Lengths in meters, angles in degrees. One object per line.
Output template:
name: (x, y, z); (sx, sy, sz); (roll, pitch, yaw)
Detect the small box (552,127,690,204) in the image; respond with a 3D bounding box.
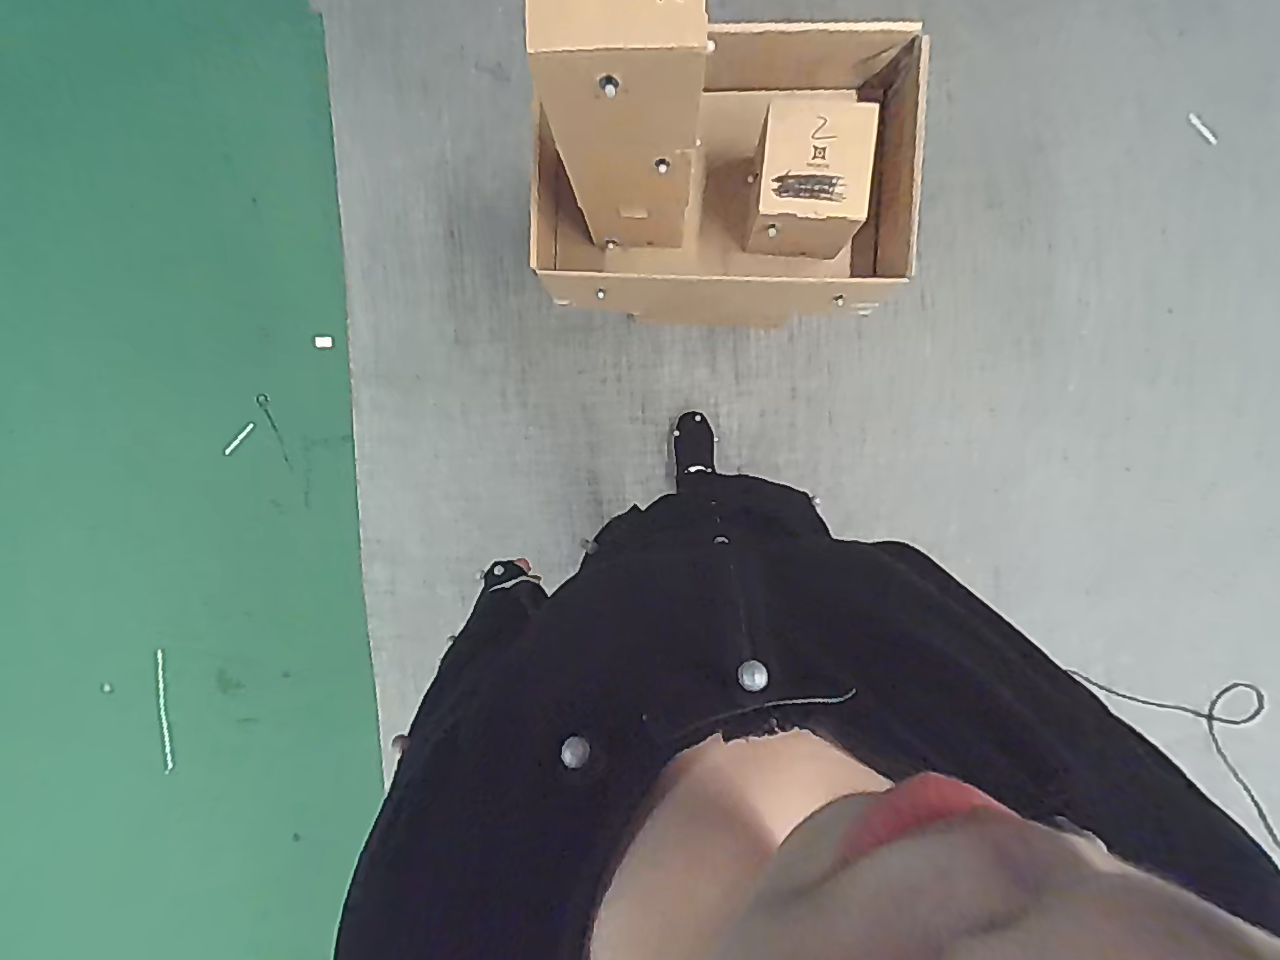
small box: (-0.019, -0.504, 0.752); (0.179, 0.176, 0.168); (1, 93, 1)

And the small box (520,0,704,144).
small box: (-0.023, -0.493, 0.587); (0.179, 0.176, 0.168); (1, 94, 1)
